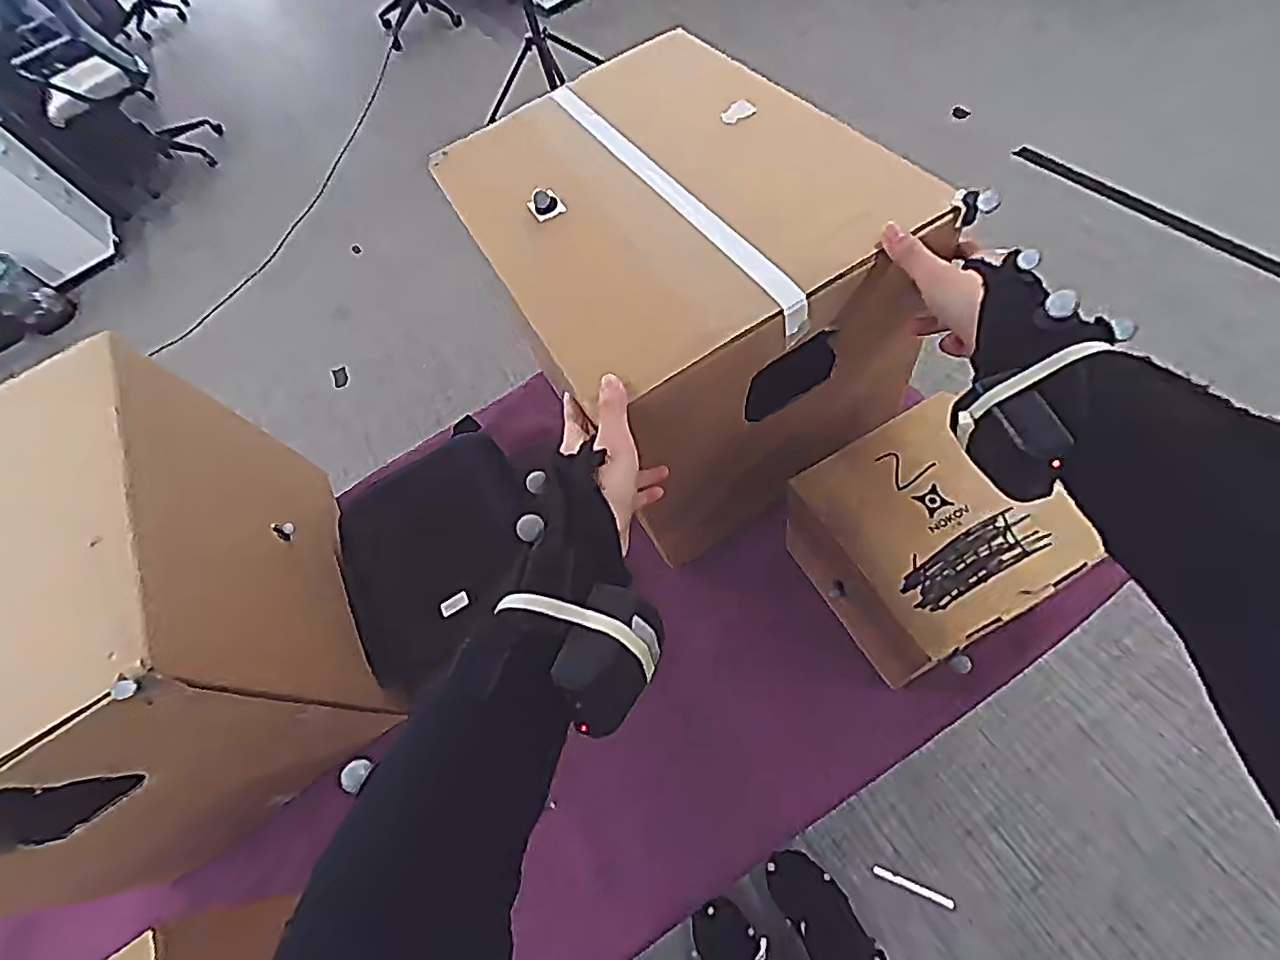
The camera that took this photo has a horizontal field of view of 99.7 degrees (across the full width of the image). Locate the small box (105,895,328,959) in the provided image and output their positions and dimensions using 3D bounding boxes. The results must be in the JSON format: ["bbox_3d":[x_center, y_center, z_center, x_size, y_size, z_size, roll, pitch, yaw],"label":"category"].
[{"bbox_3d":[-0.381,0.485,0.437,0.179,0.176,0.168,-36,59,-7],"label":"small box"}]

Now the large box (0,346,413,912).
[{"bbox_3d":[-0.517,0.146,0.573,0.320,0.320,0.408,-36,62,-5],"label":"large box"}]
